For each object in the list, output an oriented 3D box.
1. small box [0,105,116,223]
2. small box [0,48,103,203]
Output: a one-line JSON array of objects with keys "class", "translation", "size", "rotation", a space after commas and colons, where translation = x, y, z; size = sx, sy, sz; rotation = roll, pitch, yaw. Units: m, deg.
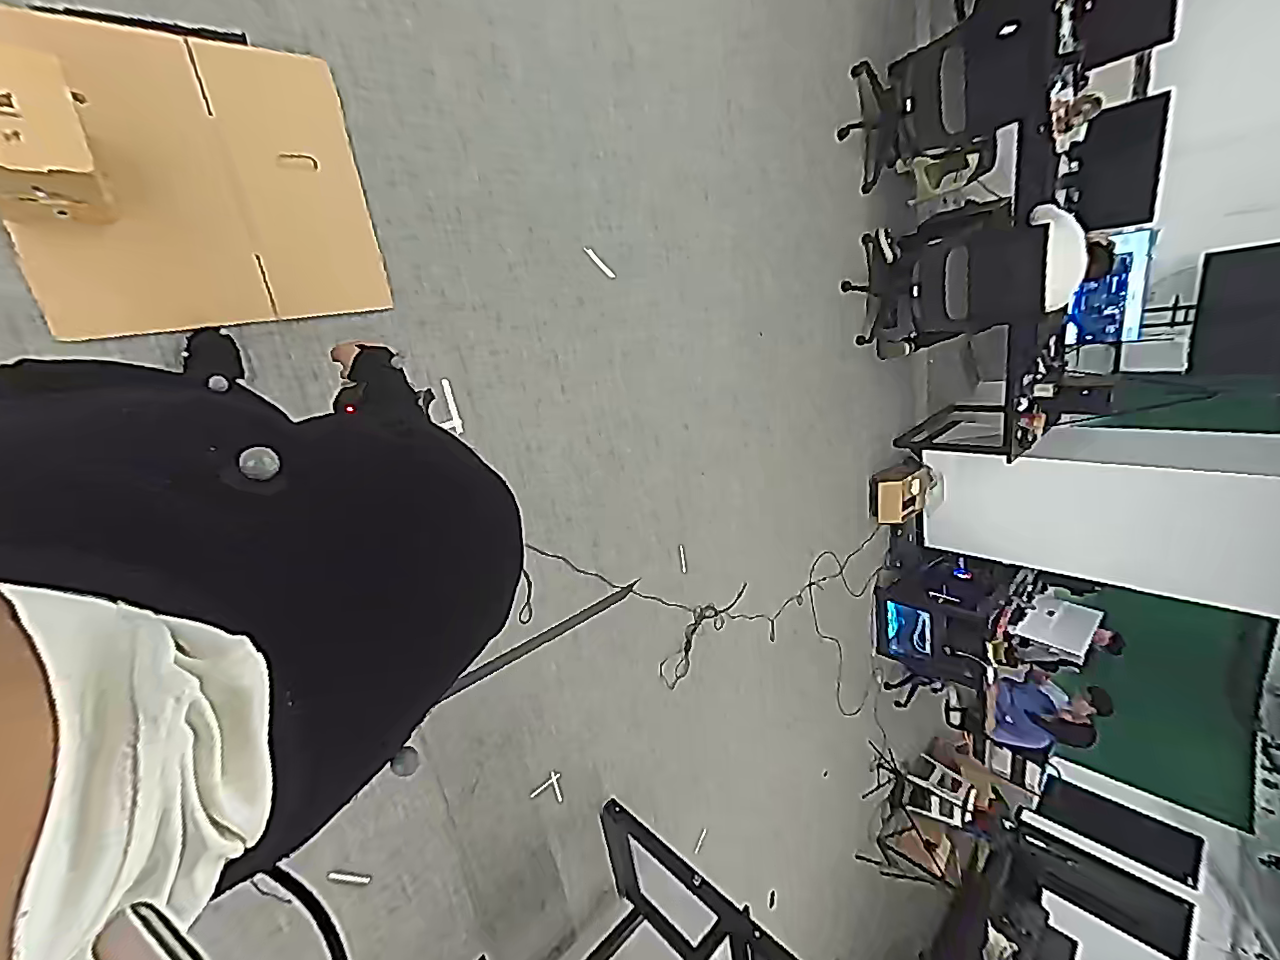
[{"class": "small box", "translation": [-1.123, -0.591, 1.015], "size": [0.168, 0.176, 0.179], "rotation": [-20, 111, -38]}, {"class": "small box", "translation": [-1.022, -0.575, 0.884], "size": [0.168, 0.176, 0.179], "rotation": [-19, 109, -38]}]
